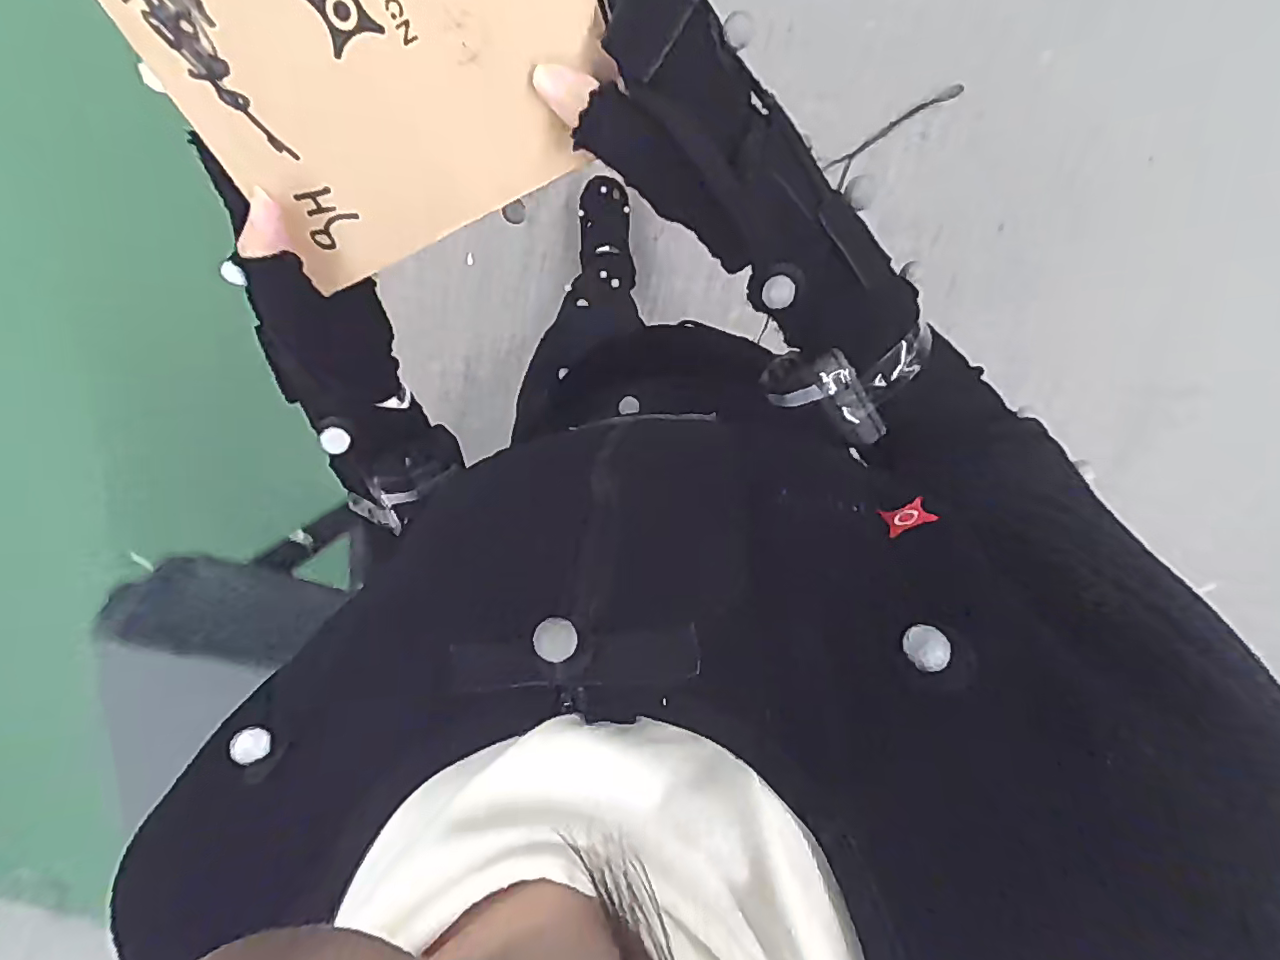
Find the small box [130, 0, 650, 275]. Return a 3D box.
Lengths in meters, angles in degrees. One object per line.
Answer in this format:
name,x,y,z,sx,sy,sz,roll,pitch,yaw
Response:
small box,-0.112,-0.233,0.278,0.179,0.176,0.168,-22,122,6

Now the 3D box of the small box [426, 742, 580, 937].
small box,-0.197,0.524,0.806,0.179,0.176,0.168,10,112,0
